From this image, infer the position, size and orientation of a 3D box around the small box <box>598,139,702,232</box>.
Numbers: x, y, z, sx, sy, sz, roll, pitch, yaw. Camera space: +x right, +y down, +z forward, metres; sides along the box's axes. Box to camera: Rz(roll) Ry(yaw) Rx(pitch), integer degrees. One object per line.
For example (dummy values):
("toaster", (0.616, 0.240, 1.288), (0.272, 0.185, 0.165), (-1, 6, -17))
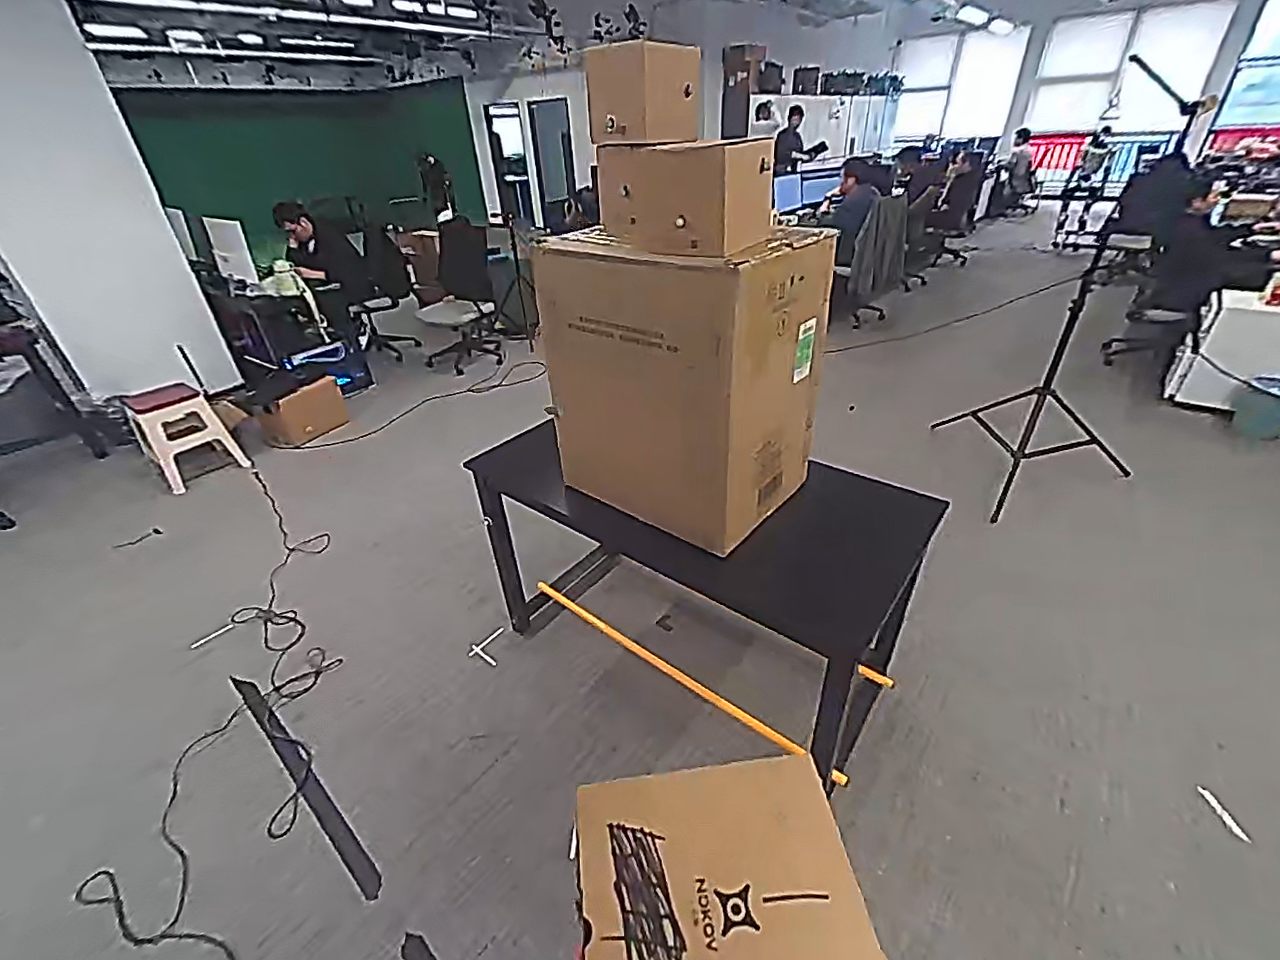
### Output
("small box", (0.028, -0.671, 1.232), (0.168, 0.176, 0.179), (24, 42, 33))

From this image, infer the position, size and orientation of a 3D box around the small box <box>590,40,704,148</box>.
("small box", (0.015, -0.800, 1.131), (0.168, 0.176, 0.179), (24, 42, 35))

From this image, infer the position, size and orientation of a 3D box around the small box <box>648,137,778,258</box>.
("small box", (0.131, -0.509, 0.972), (0.168, 0.176, 0.179), (19, 41, 33))

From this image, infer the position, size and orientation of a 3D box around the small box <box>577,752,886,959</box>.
("small box", (0.053, 0.321, 0.382), (0.179, 0.176, 0.168), (-5, 40, -5))
